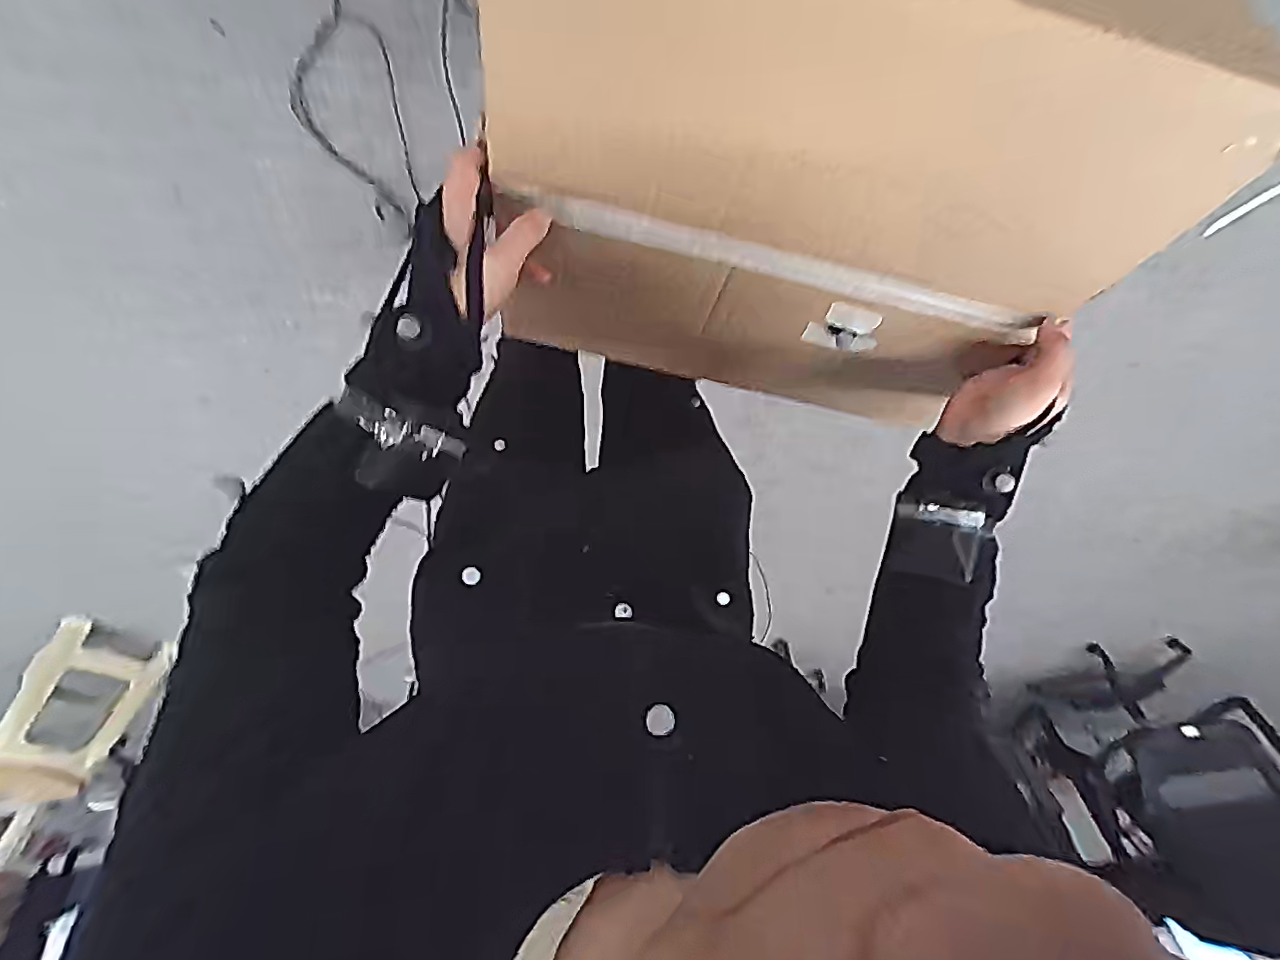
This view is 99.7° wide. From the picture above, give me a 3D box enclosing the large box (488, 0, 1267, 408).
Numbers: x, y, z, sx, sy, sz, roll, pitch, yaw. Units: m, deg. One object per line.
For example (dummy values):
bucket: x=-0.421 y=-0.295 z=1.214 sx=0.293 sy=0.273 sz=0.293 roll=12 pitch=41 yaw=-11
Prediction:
large box: x=0.114 y=-0.301 z=0.448 sx=0.408 sy=0.320 sz=0.320 roll=11 pitch=156 yaw=-7
